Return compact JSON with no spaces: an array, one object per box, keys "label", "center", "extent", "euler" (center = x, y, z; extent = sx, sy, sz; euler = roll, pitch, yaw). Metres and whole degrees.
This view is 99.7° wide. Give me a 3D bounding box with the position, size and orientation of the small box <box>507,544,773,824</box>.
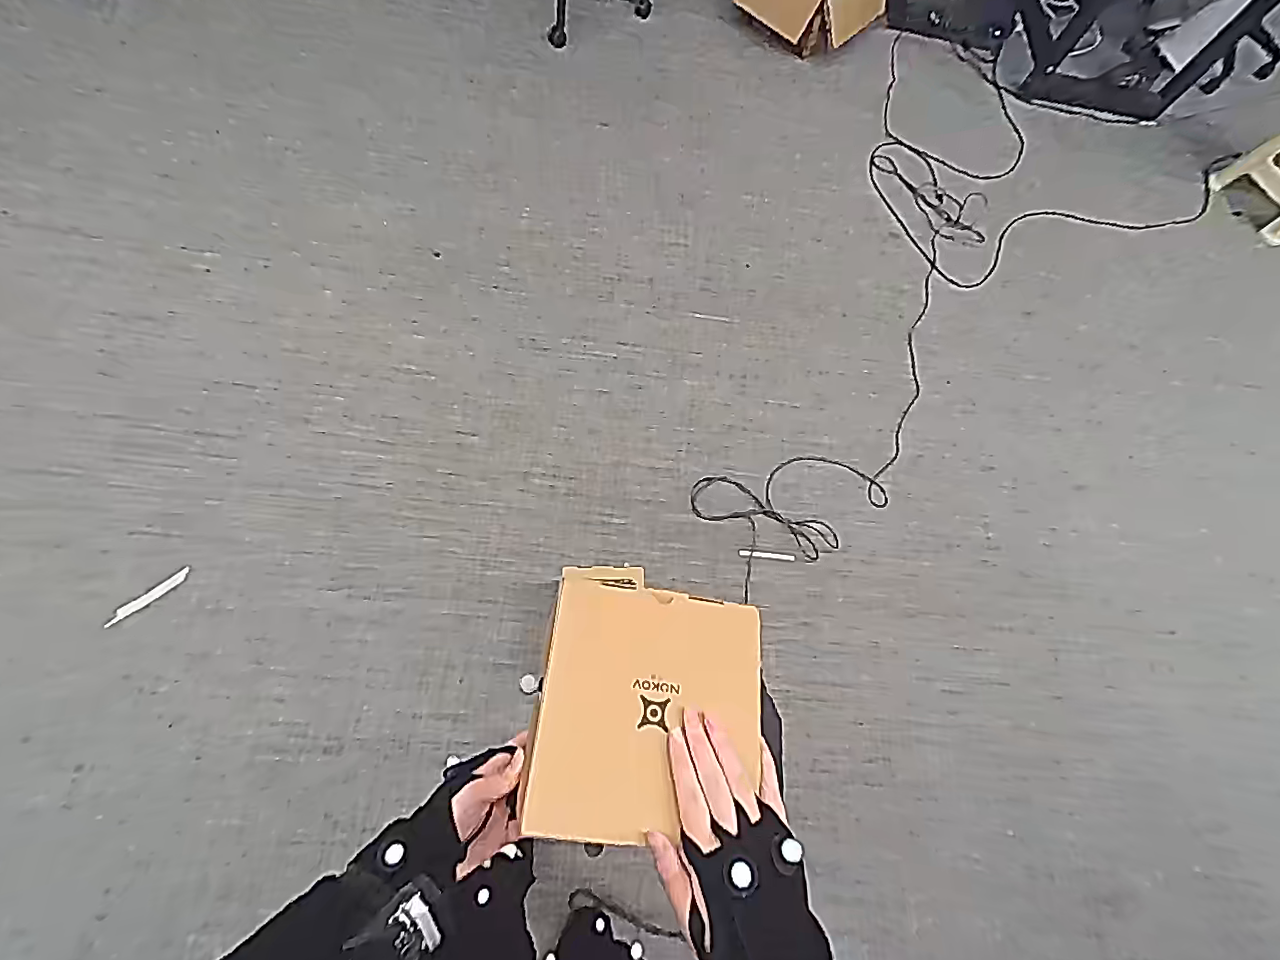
[{"label":"small box","center":[0.009,0.168,0.447],"extent":[0.179,0.176,0.168],"euler":[-3,43,5]}]
